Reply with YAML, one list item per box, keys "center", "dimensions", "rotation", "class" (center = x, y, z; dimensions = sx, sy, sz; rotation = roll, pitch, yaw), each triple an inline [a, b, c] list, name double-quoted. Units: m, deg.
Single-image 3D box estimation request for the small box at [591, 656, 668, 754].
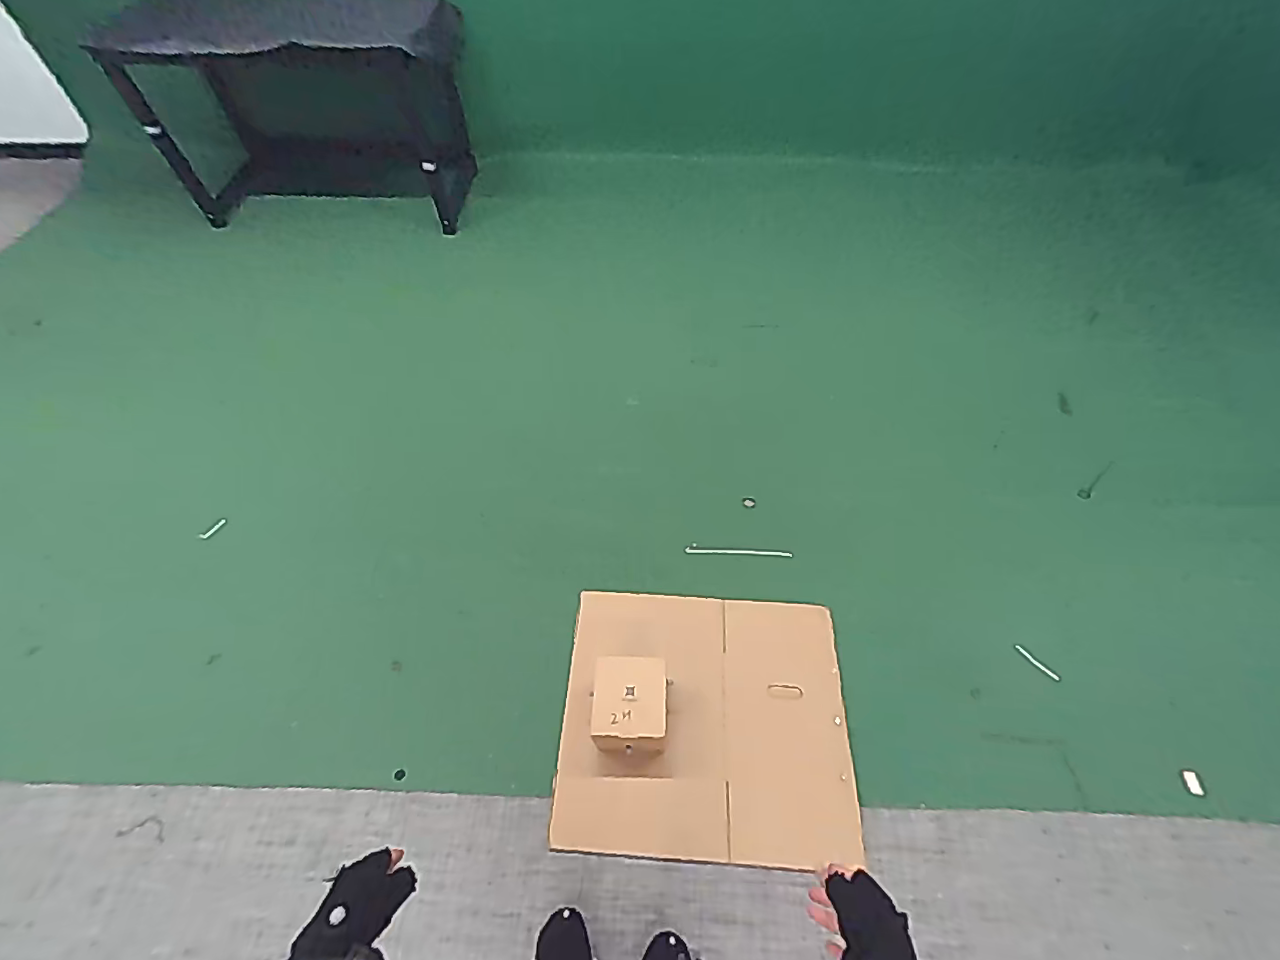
- center: [-0.019, 0.532, 1.275]
  dimensions: [0.168, 0.176, 0.179]
  rotation: [1, 55, 3]
  class: "small box"
